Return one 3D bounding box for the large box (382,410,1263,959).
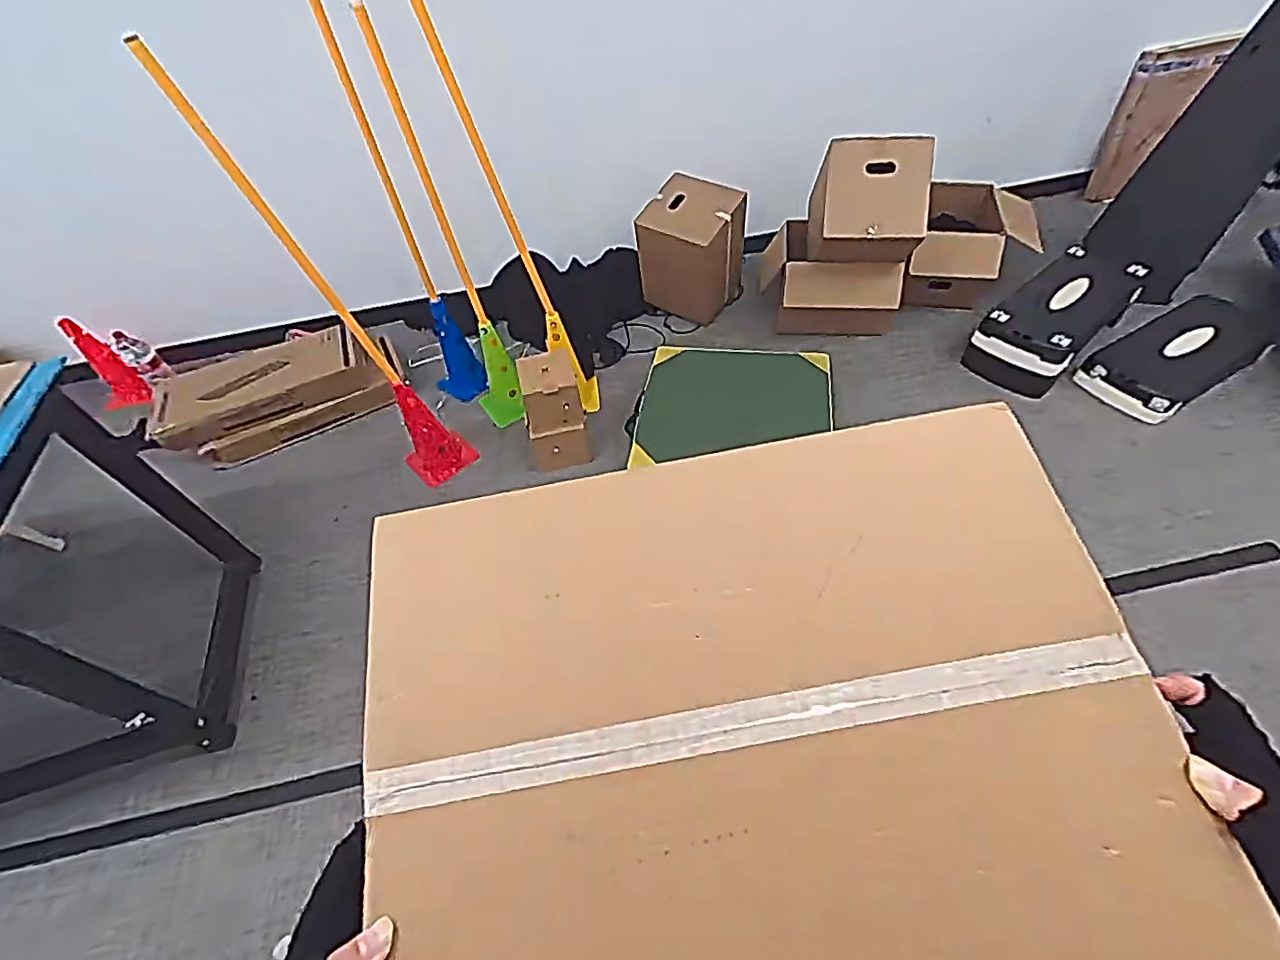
[{"bbox_3d":[0.067,0.188,0.429,0.408,0.320,0.320,-11,67,1],"label":"large box"}]
